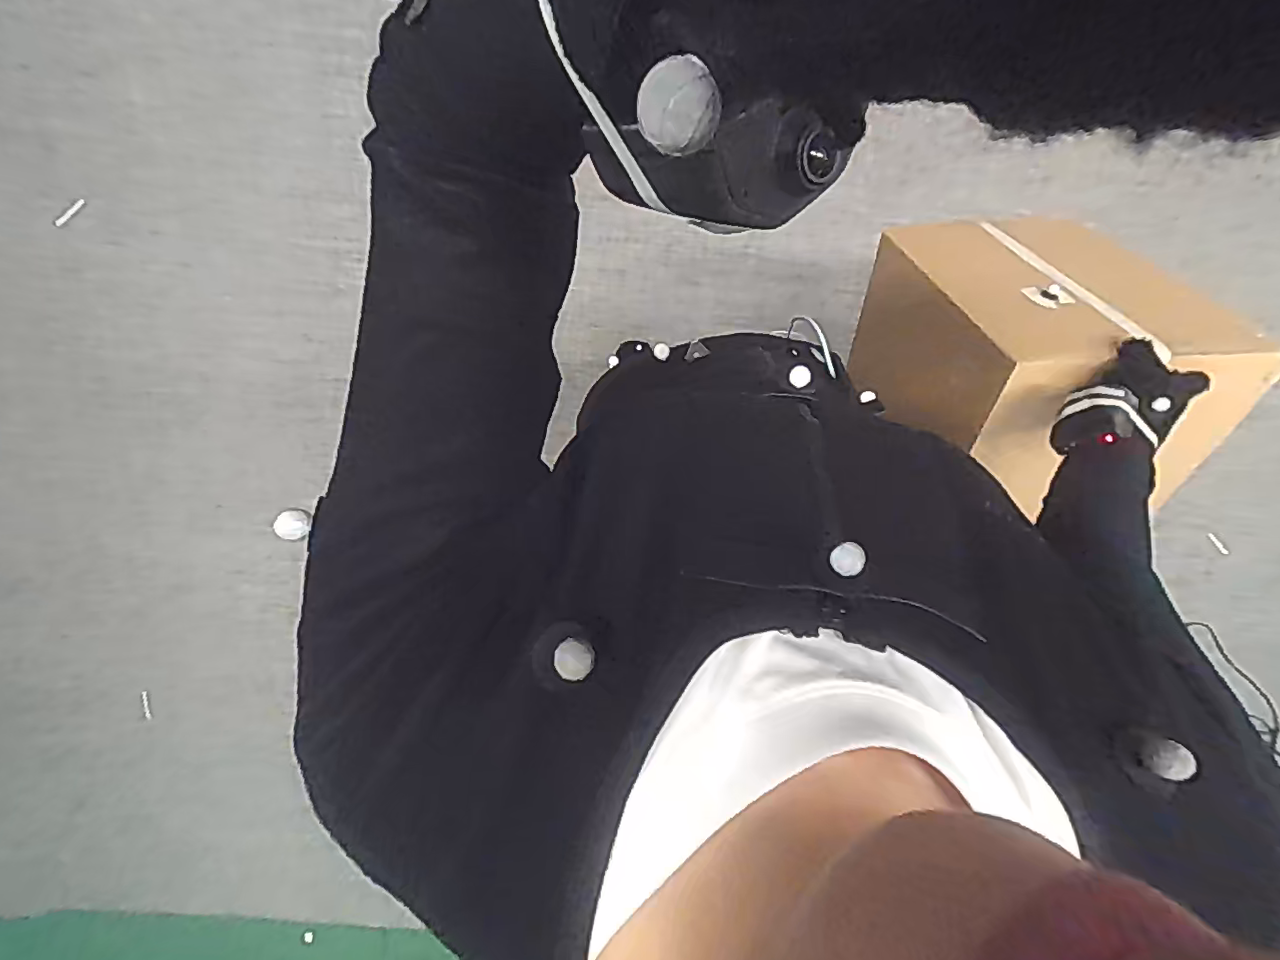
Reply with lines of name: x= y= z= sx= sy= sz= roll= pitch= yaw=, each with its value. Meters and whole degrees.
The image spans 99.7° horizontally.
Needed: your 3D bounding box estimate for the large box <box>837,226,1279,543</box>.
large box: x=0.548 y=-0.156 z=0.830 sx=0.320 sy=0.408 sz=0.320 roll=-2 pitch=135 yaw=-1
